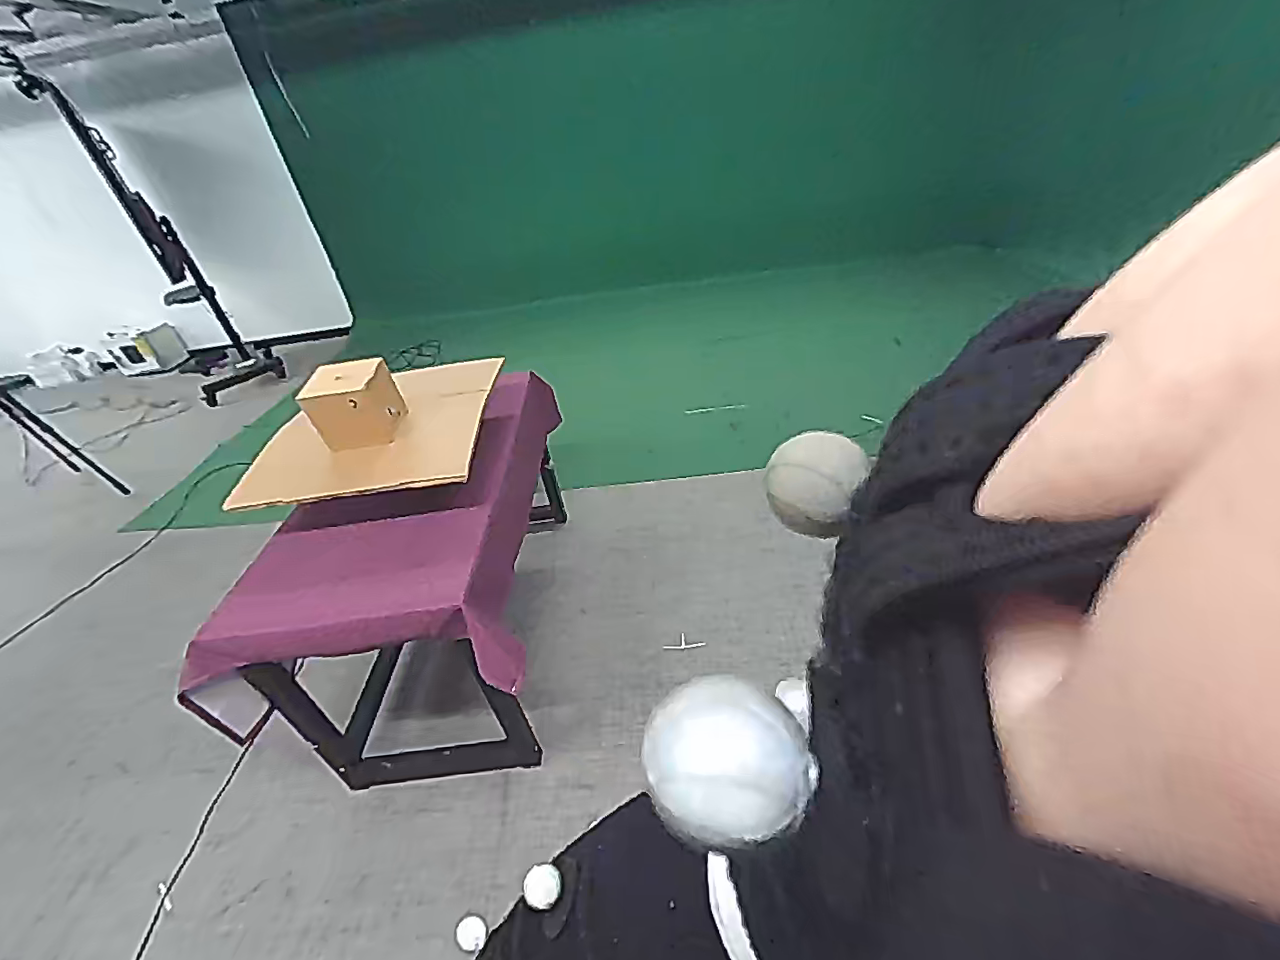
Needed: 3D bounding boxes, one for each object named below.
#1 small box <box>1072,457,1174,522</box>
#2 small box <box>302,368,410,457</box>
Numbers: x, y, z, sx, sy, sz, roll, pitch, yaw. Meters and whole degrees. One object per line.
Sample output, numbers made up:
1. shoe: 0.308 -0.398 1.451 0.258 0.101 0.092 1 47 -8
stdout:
1. small box: 1.622 0.022 1.830 0.179 0.176 0.168 -10 34 3
2. small box: -0.751 -0.176 1.450 0.179 0.176 0.168 -8 41 2
